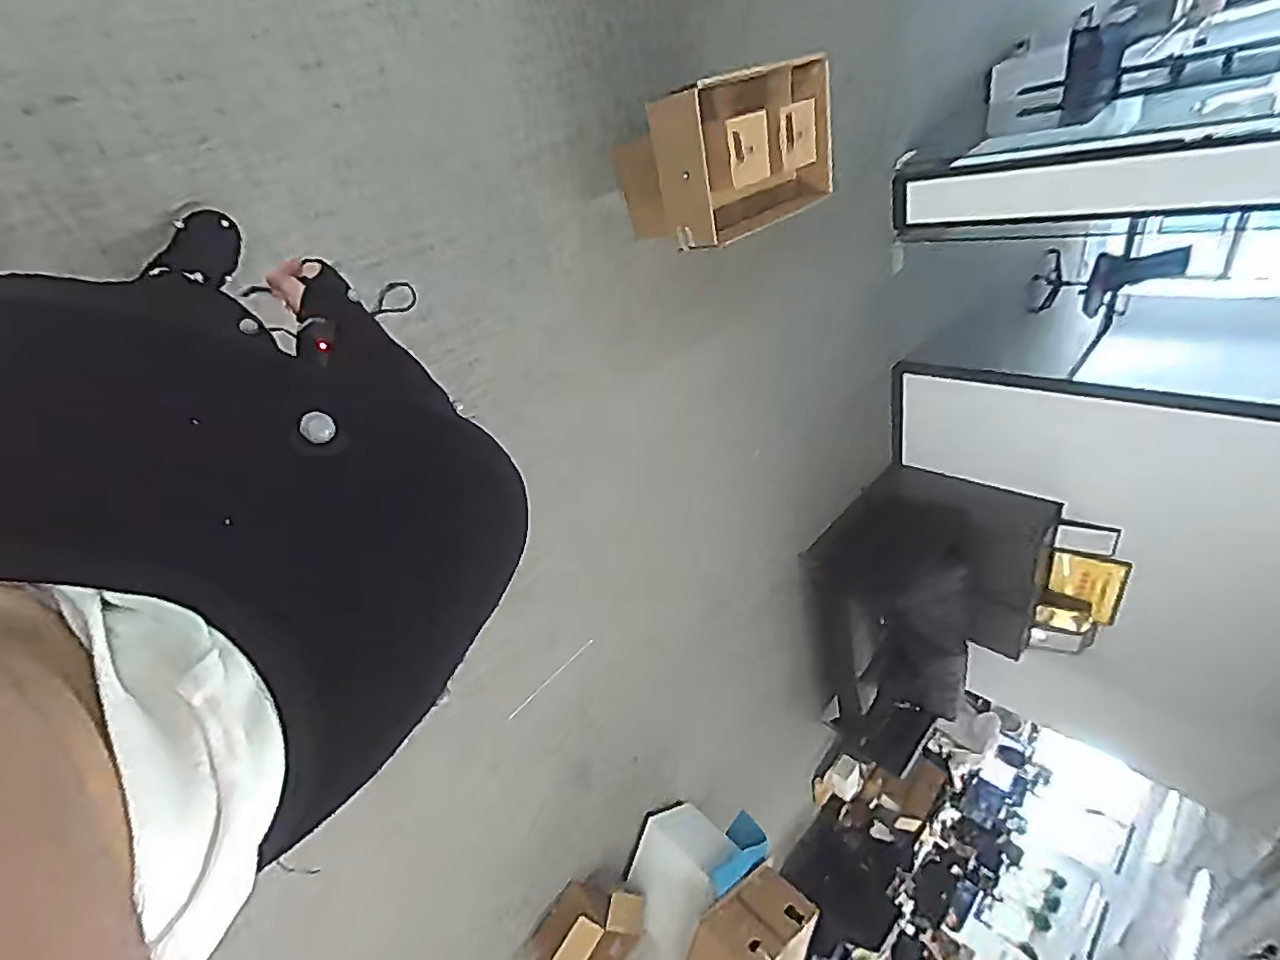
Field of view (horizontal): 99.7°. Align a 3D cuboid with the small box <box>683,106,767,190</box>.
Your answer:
[{"bbox_3d":[0.234,-0.929,1.521,0.179,0.176,0.168,-35,129,-31],"label":"small box"}]
